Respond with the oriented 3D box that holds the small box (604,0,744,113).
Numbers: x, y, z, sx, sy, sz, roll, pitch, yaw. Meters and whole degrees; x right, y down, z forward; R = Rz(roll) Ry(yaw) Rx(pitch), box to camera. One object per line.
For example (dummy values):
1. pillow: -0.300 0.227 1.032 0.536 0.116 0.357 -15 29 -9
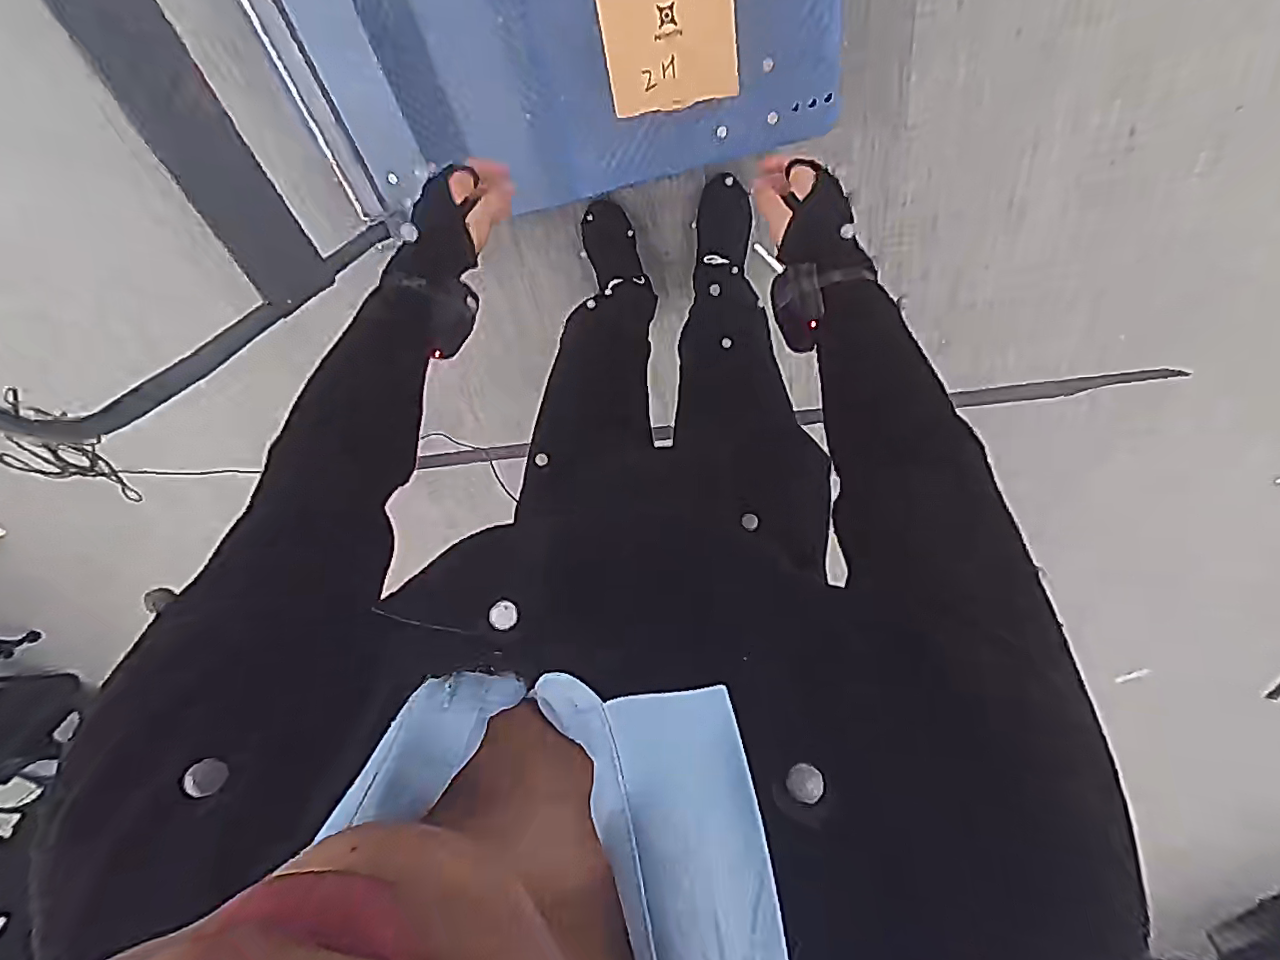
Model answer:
1. small box: 0.047 -0.614 0.716 0.168 0.176 0.179 -4 131 11
